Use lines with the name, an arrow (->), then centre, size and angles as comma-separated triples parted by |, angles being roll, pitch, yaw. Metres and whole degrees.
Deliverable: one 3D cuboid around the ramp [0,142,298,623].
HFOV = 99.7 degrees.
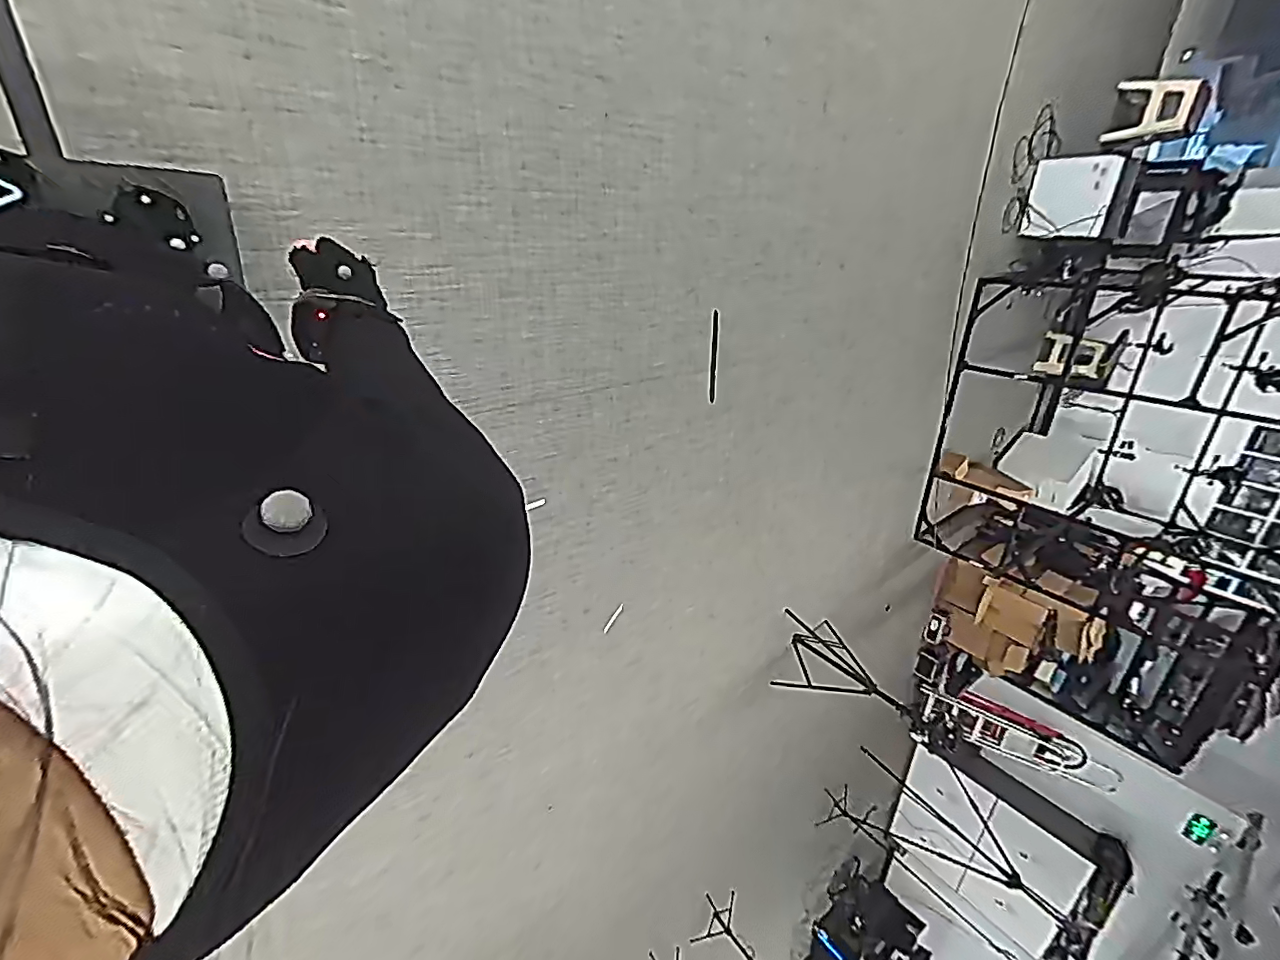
ramp -> -1.083, -0.136, 1.145 | 0.509, 0.206, 0.991 | -18, 121, -36
